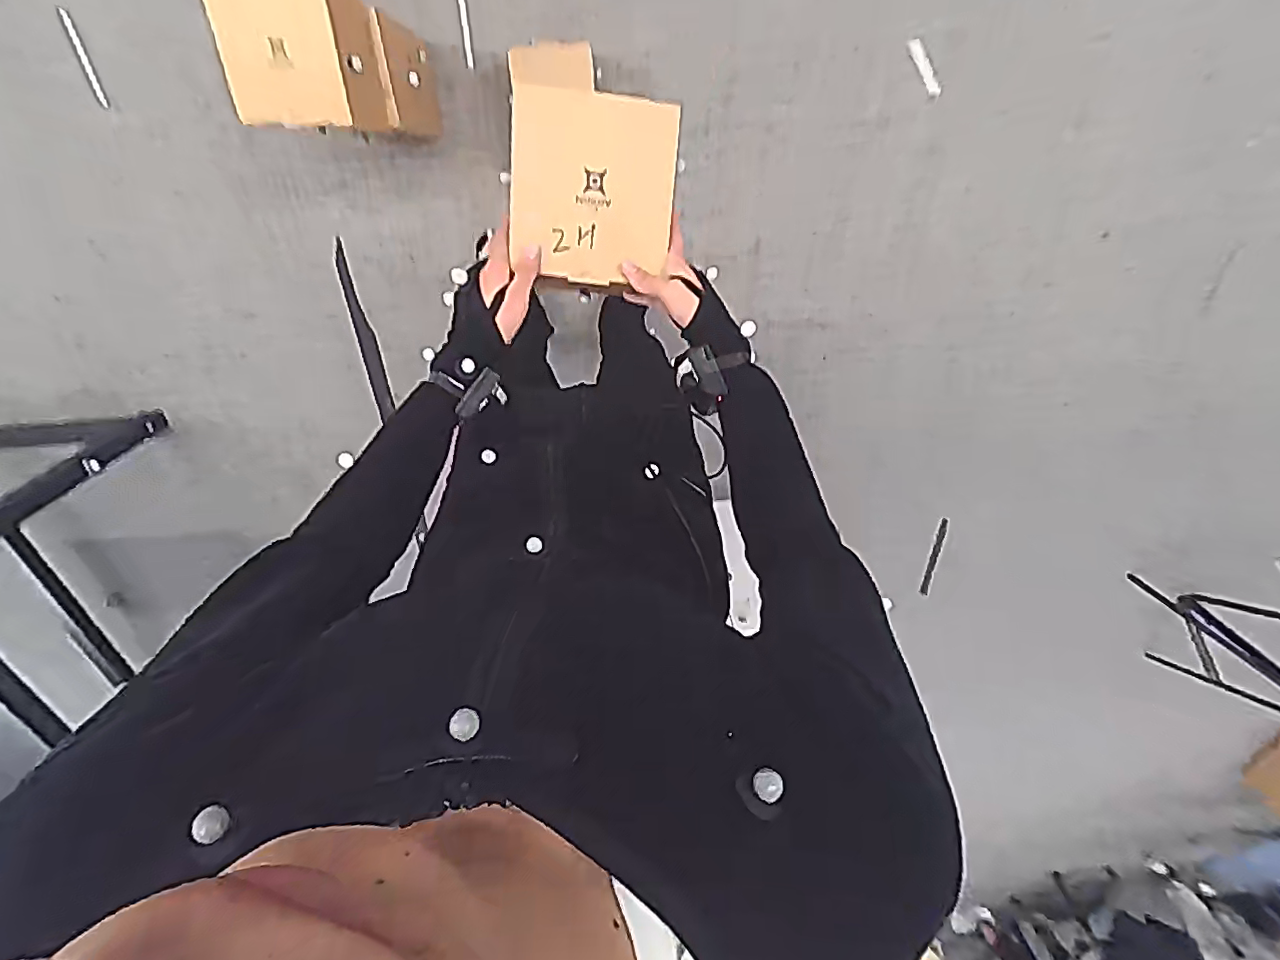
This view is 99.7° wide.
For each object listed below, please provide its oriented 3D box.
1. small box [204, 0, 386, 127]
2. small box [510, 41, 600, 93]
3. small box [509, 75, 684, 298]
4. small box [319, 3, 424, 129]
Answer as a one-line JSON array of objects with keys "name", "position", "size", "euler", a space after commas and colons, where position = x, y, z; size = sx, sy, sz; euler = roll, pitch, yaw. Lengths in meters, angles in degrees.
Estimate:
[{"name": "small box", "position": [-0.512, -0.649, 0.826], "size": [0.168, 0.176, 0.179], "euler": [-1, 123, -4]}, {"name": "small box", "position": [-0.169, -0.802, 1.141], "size": [0.168, 0.176, 0.179], "euler": [-3, 123, 0]}, {"name": "small box", "position": [-0.054, -0.312, 0.614], "size": [0.168, 0.176, 0.179], "euler": [3, 104, -7]}, {"name": "small box", "position": [-0.511, -0.730, 0.967], "size": [0.179, 0.176, 0.168], "euler": [-3, 122, -3]}]
